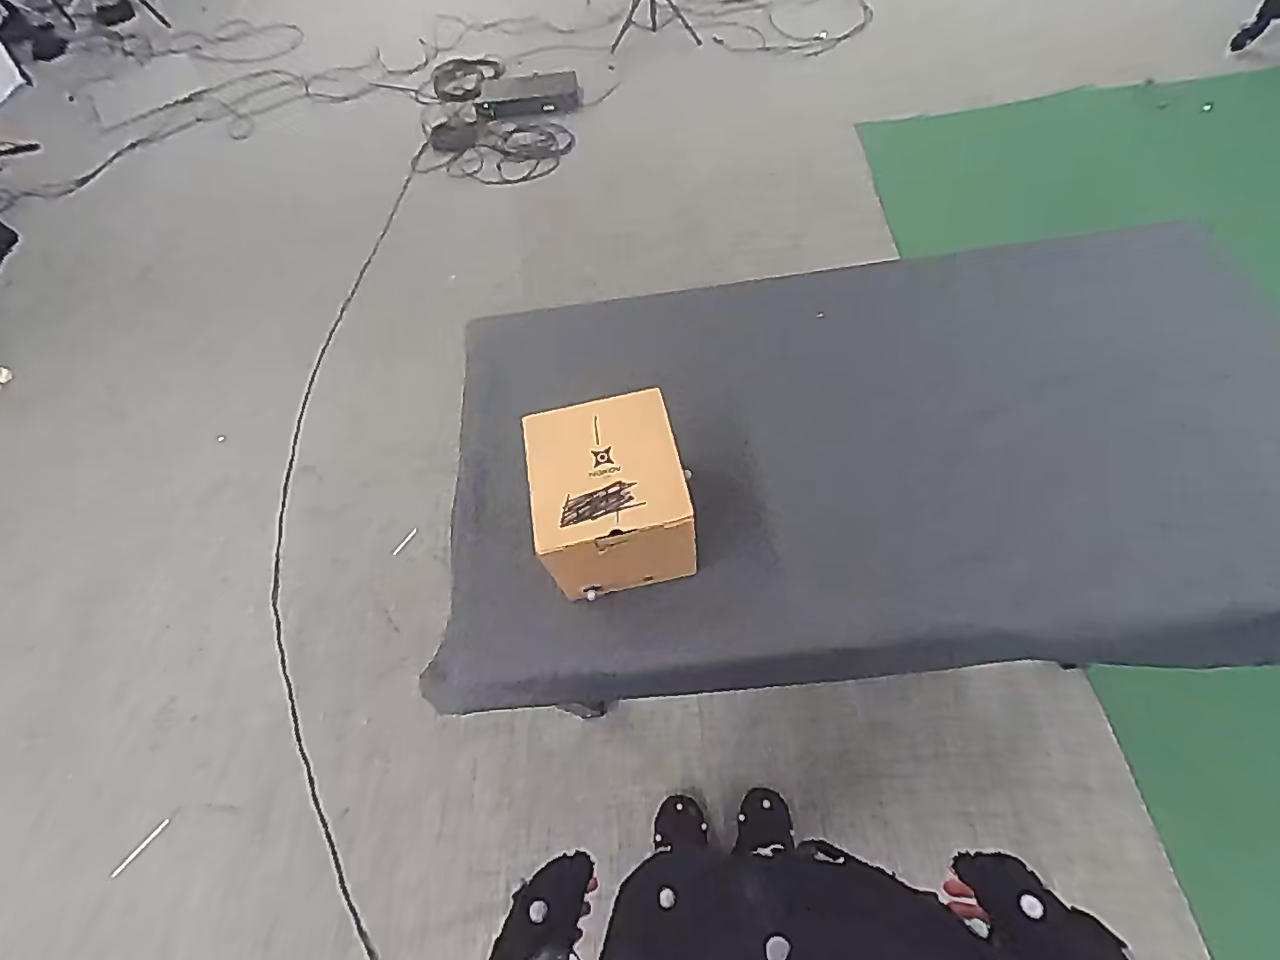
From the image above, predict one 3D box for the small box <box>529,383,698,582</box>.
[{"bbox_3d":[-0.027,0.014,0.661,0.168,0.176,0.179,-12,60,0],"label":"small box"}]
